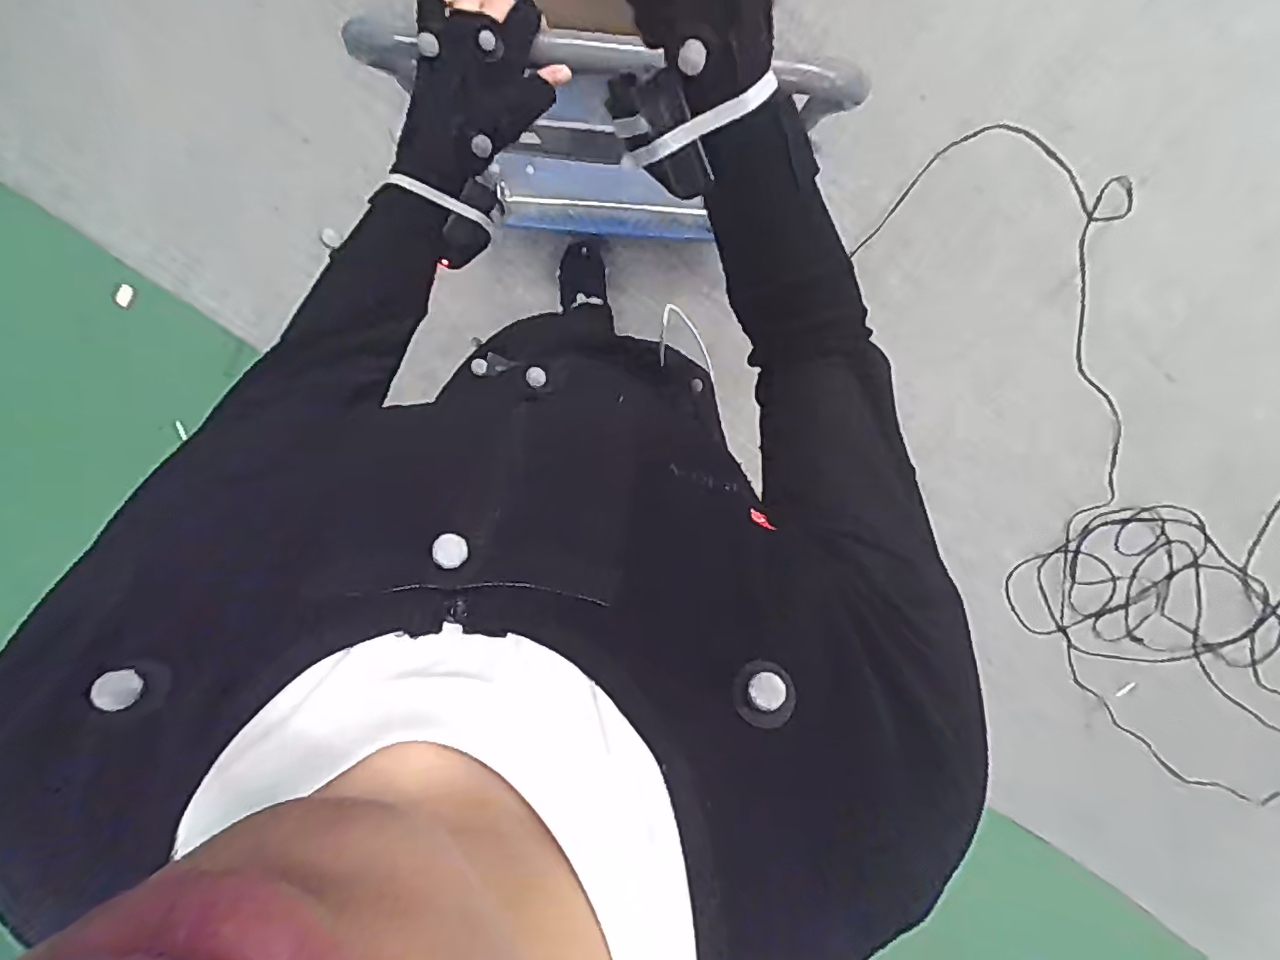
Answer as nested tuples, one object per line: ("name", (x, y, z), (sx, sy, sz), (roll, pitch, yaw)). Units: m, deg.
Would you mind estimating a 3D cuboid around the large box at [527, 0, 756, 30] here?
("large box", (0.004, -0.953, 0.842), (0.408, 0.320, 0.320), (0, 108, -2))
